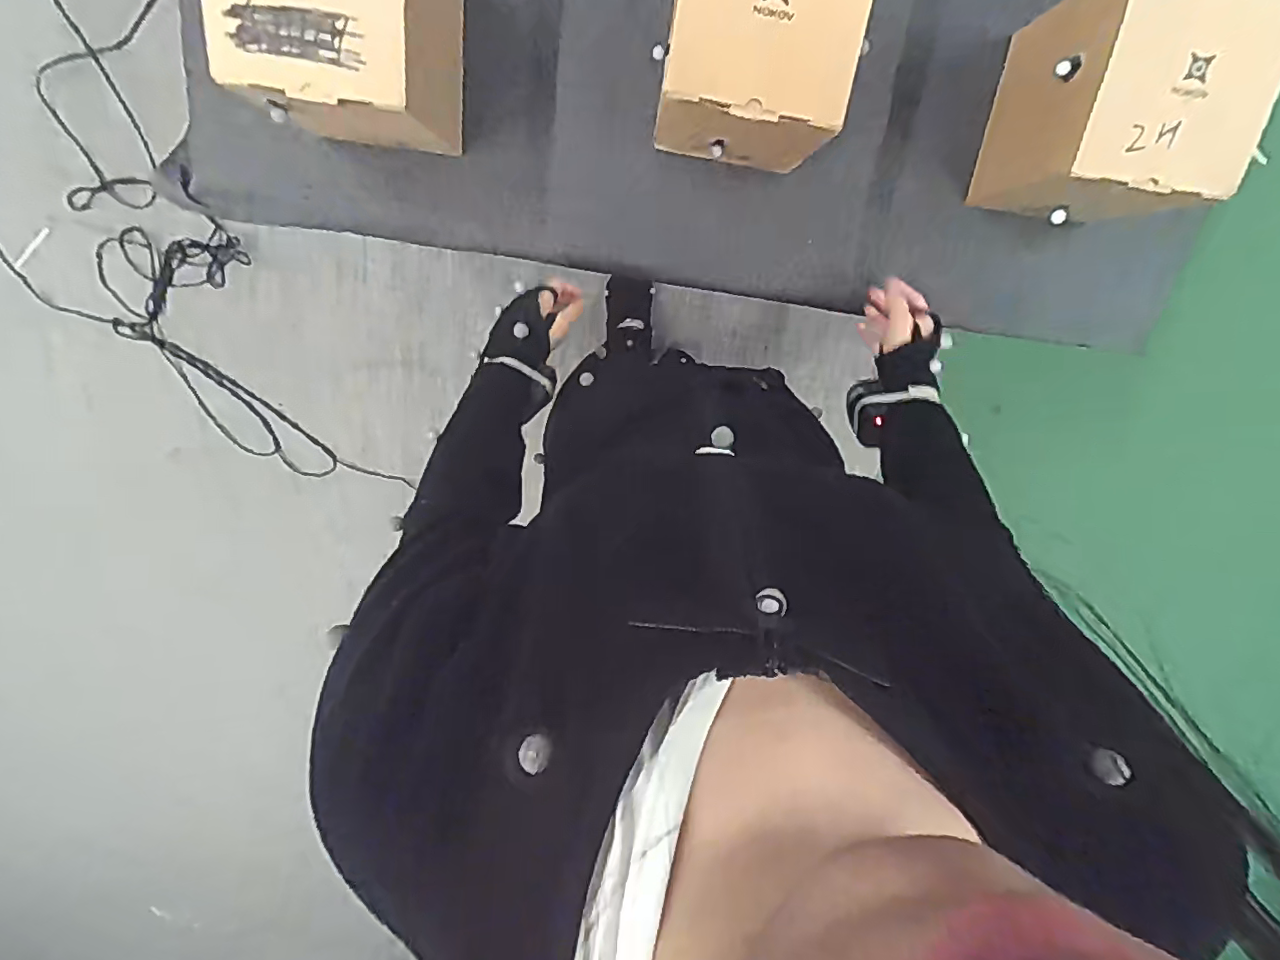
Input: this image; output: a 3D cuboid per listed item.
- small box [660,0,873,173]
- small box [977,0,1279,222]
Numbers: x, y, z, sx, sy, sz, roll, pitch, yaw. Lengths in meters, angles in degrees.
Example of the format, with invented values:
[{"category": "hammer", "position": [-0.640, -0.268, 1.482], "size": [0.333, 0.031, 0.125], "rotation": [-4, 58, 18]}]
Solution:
[{"category": "small box", "position": [0.114, -0.432, 0.538], "size": [0.168, 0.176, 0.179], "rotation": [8, 108, -3]}, {"category": "small box", "position": [0.488, -0.381, 0.554], "size": [0.168, 0.176, 0.179], "rotation": [7, 108, -2]}]
